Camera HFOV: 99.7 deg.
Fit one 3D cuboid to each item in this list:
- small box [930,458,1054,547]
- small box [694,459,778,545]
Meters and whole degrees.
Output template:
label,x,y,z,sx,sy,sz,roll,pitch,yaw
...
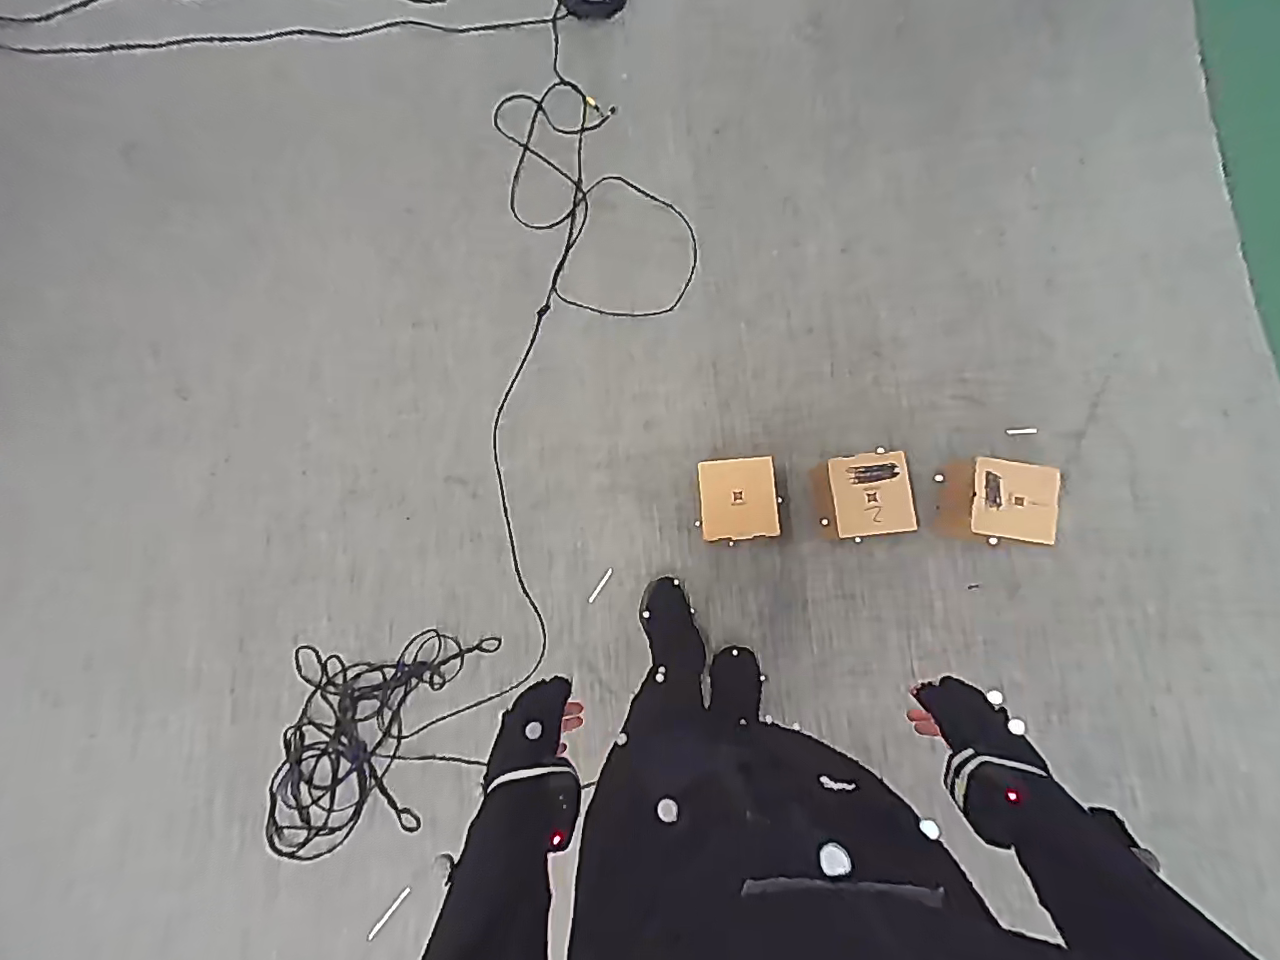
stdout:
label,x,y,z,sx,sy,sz,roll,pitch,yaw
small box,0.786,0.058,1.222,0.179,0.176,0.168,9,82,4
small box,0.216,0.056,1.260,0.168,0.176,0.179,-5,82,3
